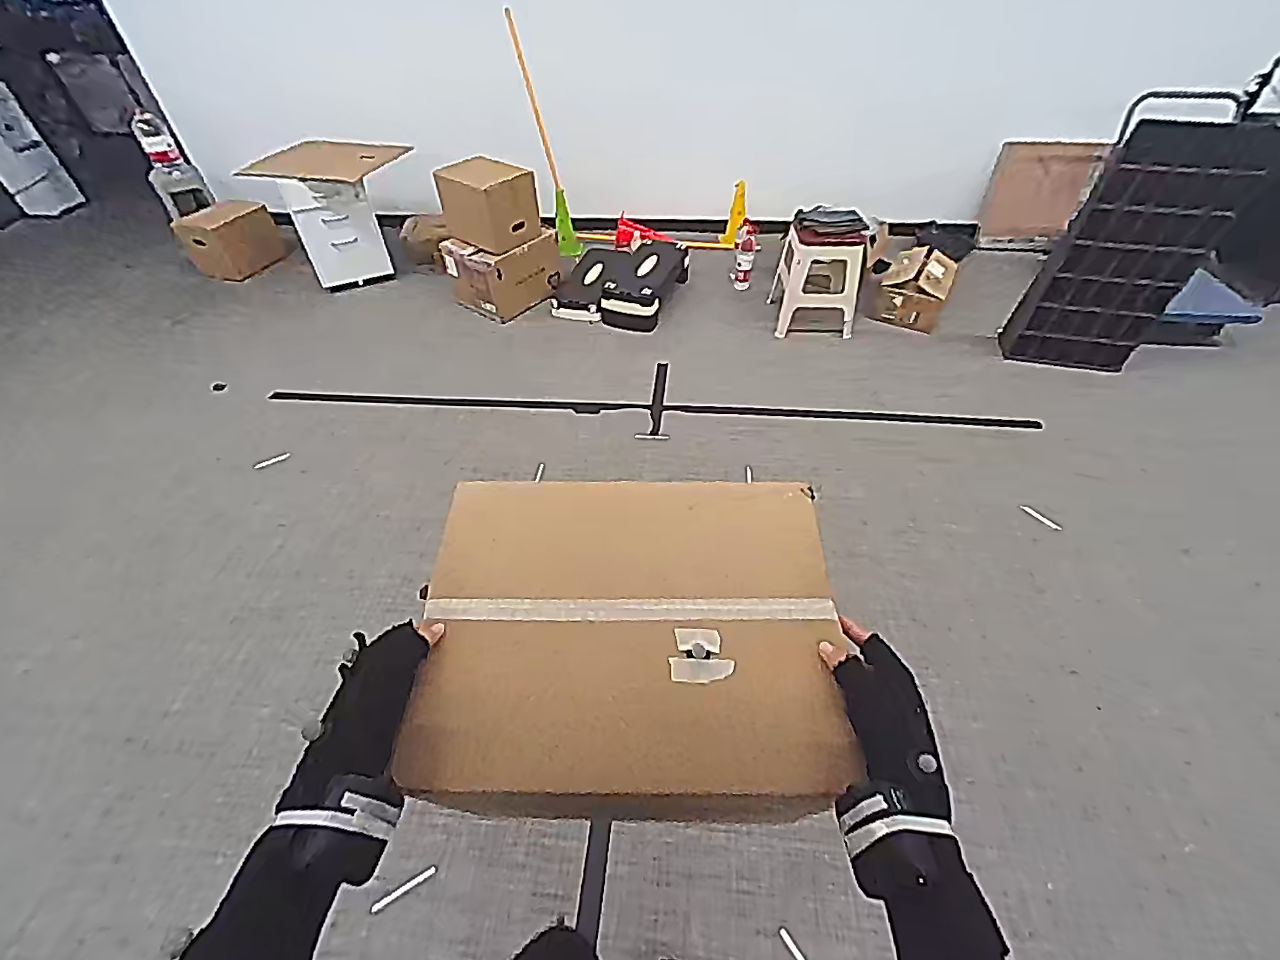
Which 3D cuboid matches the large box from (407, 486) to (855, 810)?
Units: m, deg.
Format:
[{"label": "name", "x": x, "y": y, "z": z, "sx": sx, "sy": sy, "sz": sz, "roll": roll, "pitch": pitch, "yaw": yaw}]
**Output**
[{"label": "large box", "x": -0.009, "y": 0.219, "z": 0.677, "sx": 0.408, "sy": 0.320, "sz": 0.320, "roll": 0, "pitch": 56, "yaw": 1}]
